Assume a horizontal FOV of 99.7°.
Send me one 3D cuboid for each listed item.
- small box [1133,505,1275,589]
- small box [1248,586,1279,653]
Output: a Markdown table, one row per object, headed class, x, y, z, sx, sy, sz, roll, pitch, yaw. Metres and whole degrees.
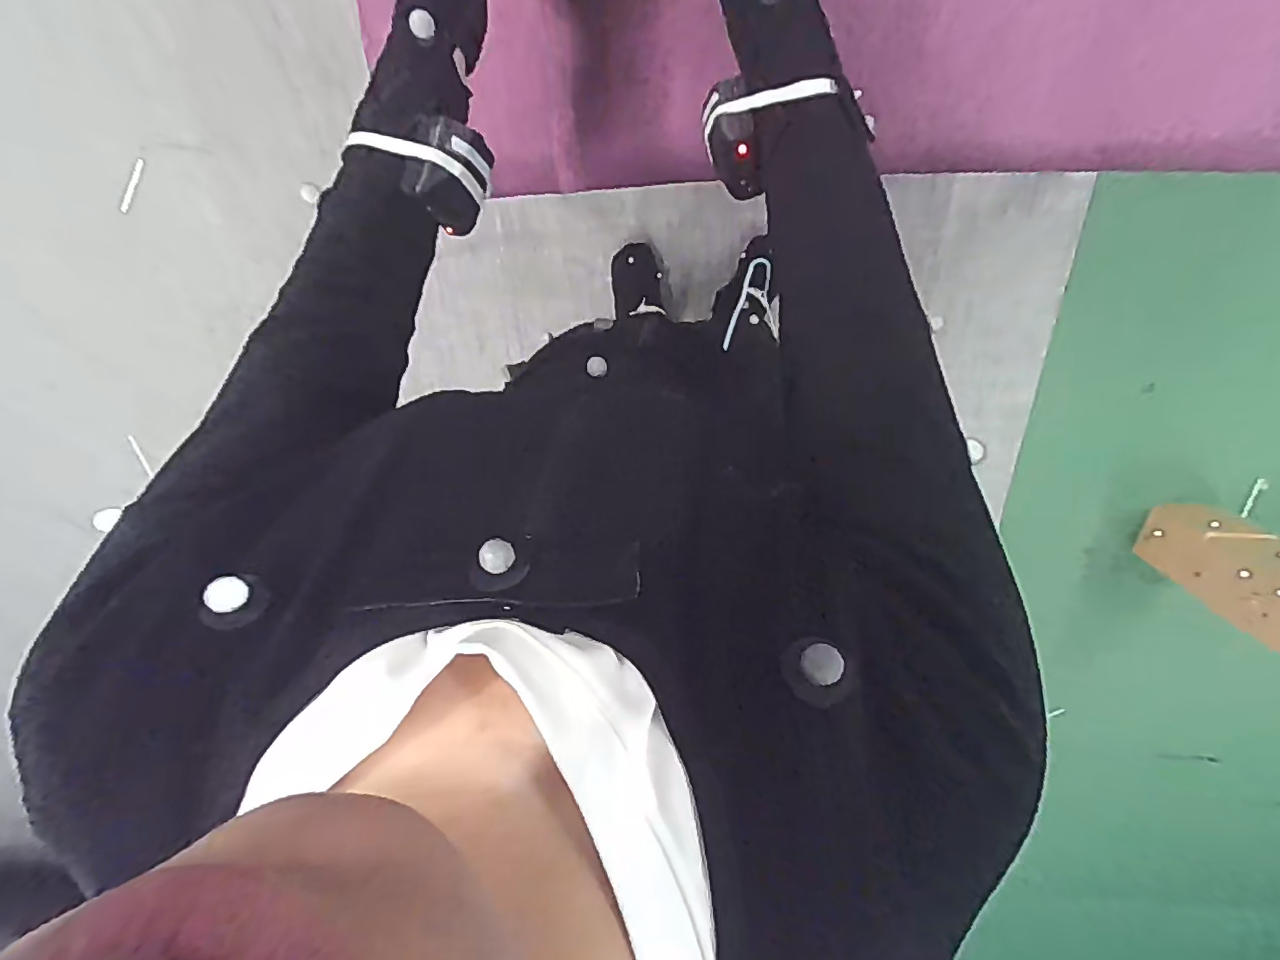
| class | x | y | z | sx | sy | sz | roll | pitch | yaw |
| --- | --- | --- | --- | --- | --- | --- | --- | --- | --- |
| small box | 1.524 | 0.179 | 1.475 | 0.179 | 0.176 | 0.168 | 2 | 116 | 3 |
| small box | 1.522 | 0.324 | 1.179 | 0.179 | 0.176 | 0.168 | 0 | 117 | 2 |
